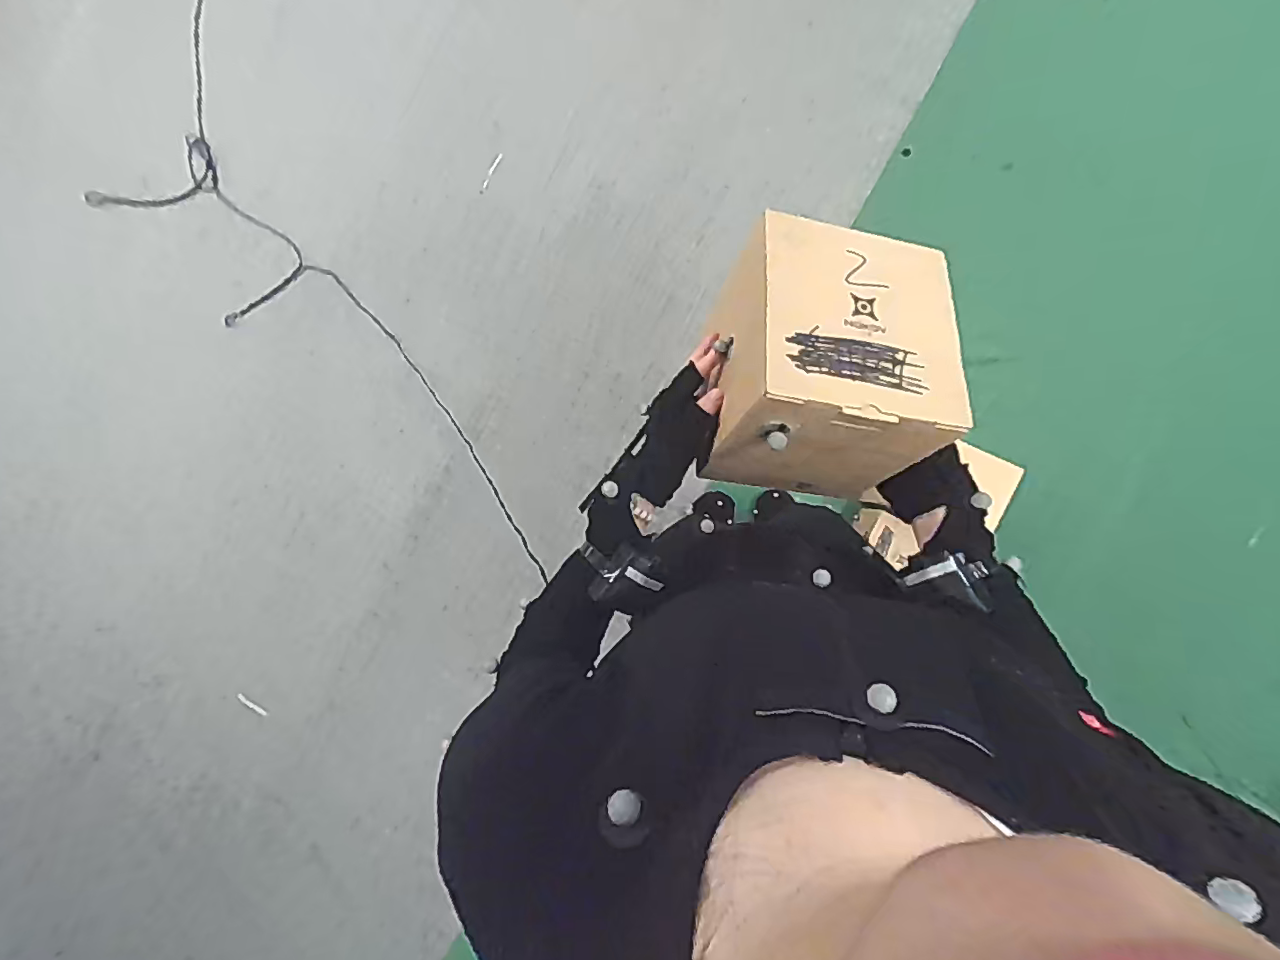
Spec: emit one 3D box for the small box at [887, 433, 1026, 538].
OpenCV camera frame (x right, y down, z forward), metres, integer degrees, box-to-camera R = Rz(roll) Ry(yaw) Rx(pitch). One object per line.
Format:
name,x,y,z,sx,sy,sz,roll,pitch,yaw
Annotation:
small box,0.683,0.010,1.188,0.179,0.176,0.168,26,92,7
